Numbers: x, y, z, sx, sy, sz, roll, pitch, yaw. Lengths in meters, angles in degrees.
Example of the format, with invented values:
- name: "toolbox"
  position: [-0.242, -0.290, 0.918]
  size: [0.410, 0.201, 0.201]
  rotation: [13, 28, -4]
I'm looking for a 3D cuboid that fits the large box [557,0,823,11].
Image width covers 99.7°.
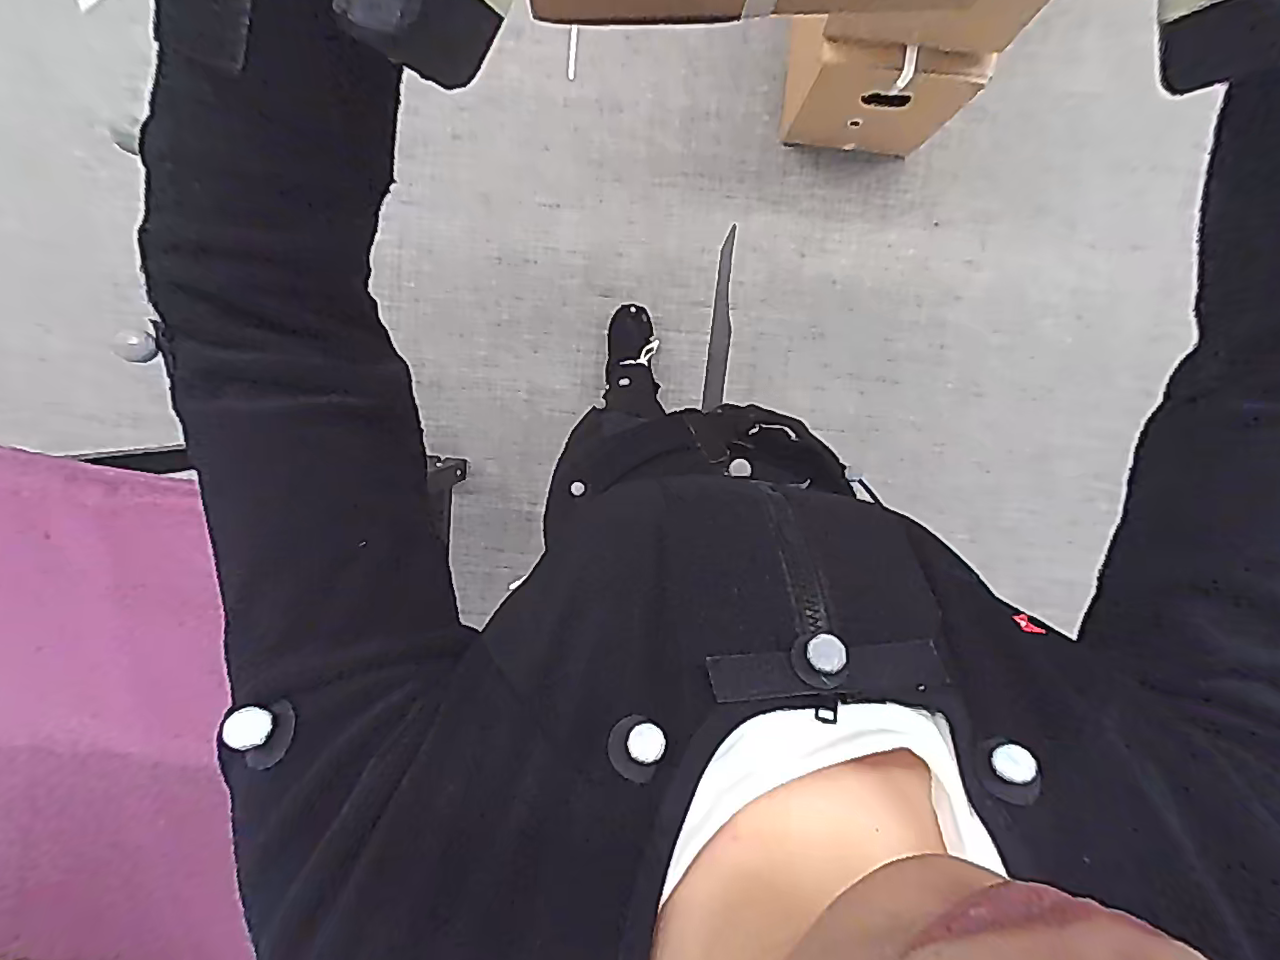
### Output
- name: "large box"
  position: [0.082, -0.501, 0.195]
  size: [0.320, 0.320, 0.408]
  rotation: [-3, 99, 1]
